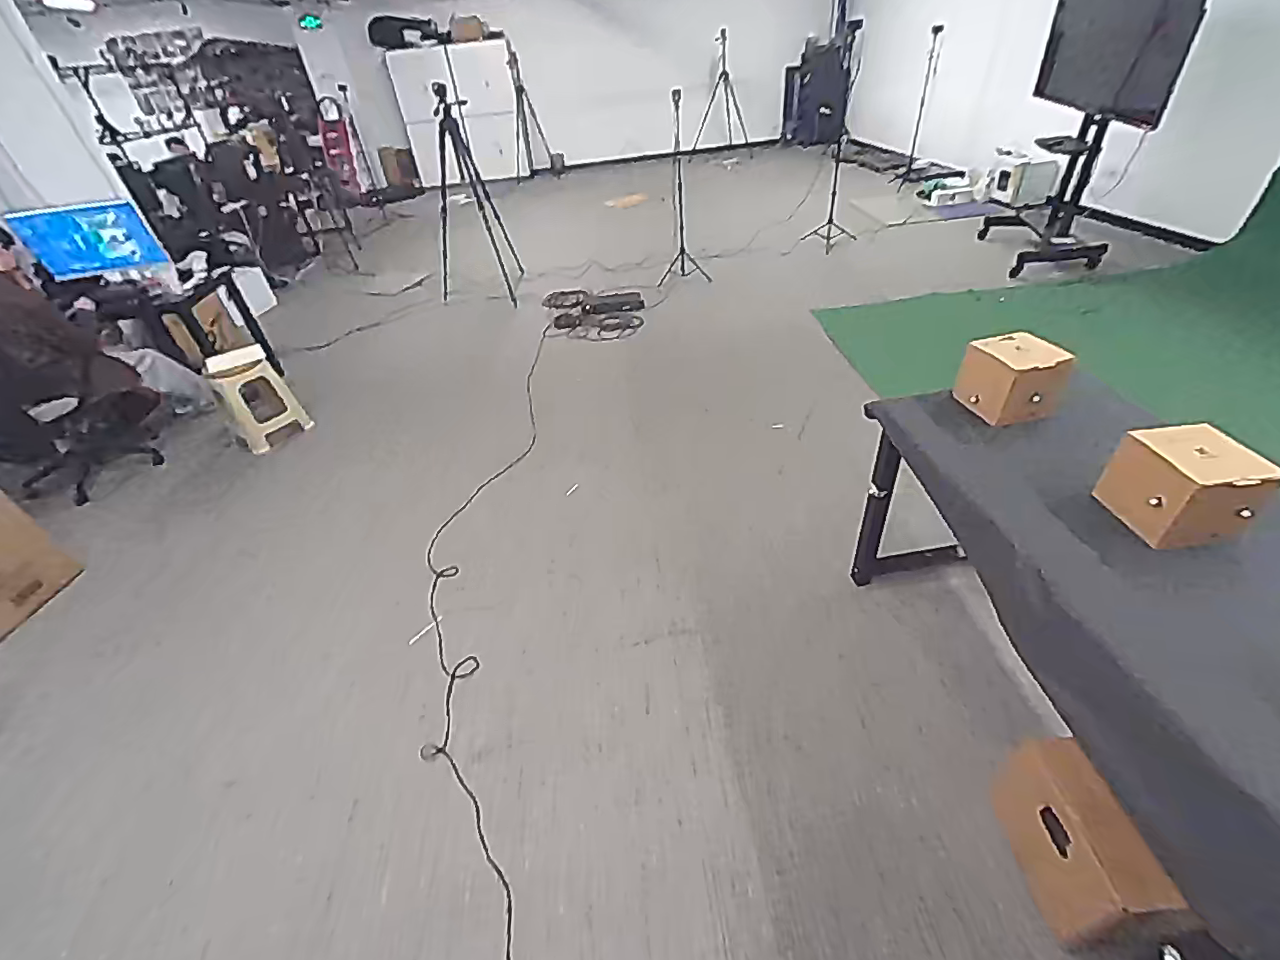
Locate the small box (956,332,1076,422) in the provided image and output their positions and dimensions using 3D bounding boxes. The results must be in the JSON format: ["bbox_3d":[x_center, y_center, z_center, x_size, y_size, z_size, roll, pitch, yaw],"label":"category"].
[{"bbox_3d":[0.978,-0.265,1.425,0.168,0.176,0.179,-11,40,-6],"label":"small box"}]

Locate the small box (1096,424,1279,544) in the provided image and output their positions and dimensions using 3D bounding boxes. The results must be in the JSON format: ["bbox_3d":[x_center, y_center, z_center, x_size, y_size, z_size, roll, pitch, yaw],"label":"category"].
[{"bbox_3d":[1.069,0.013,1.067,0.168,0.176,0.179,-6,37,-1],"label":"small box"}]
